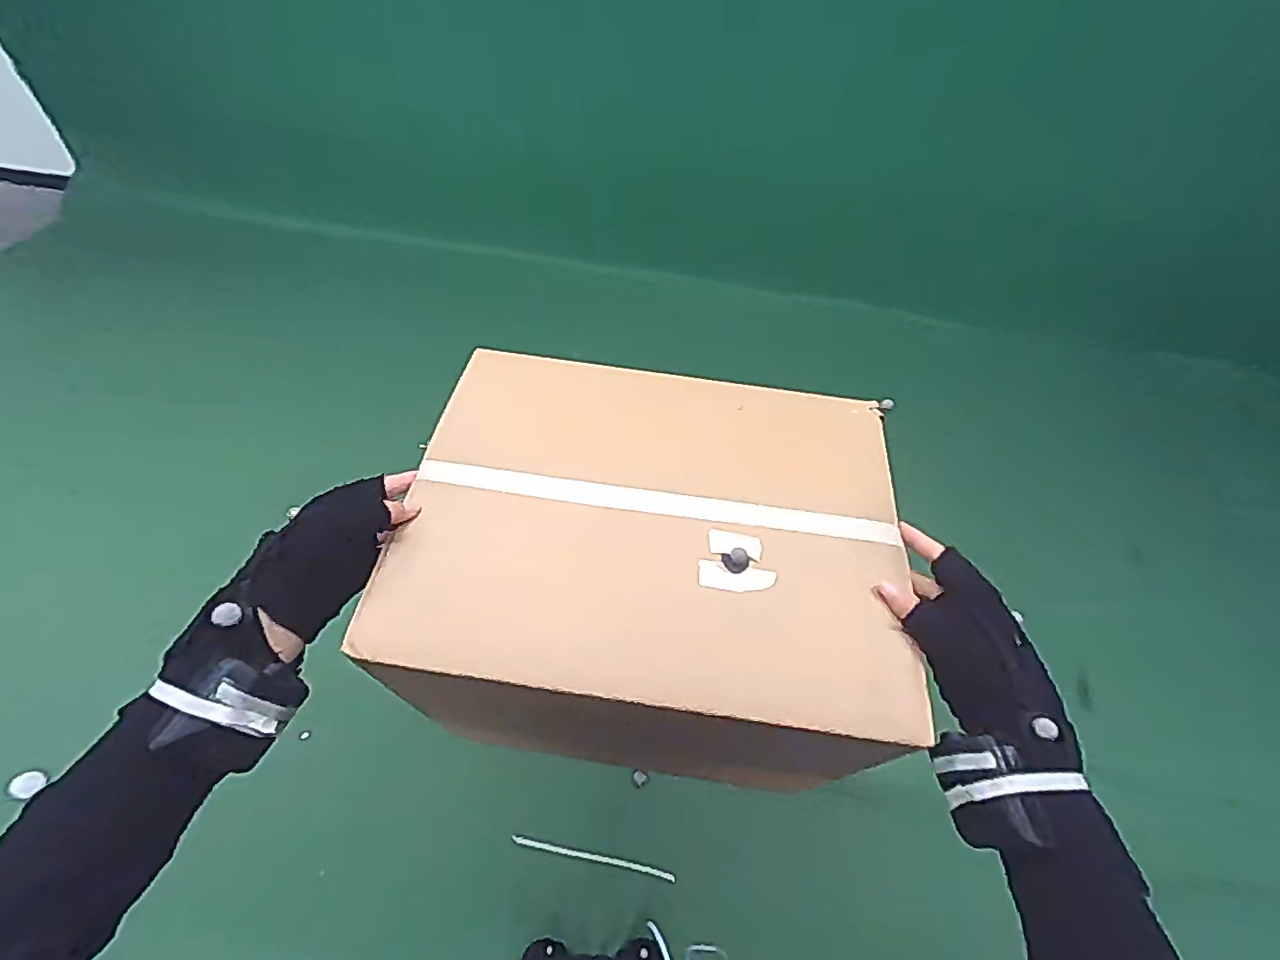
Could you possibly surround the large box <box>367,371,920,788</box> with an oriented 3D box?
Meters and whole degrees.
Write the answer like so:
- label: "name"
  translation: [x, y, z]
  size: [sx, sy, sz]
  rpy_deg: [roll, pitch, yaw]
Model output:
- label: "large box"
  translation: [0.008, 0.118, 0.586]
  size: [0.408, 0.320, 0.320]
  rpy_deg: [8, 55, 2]
